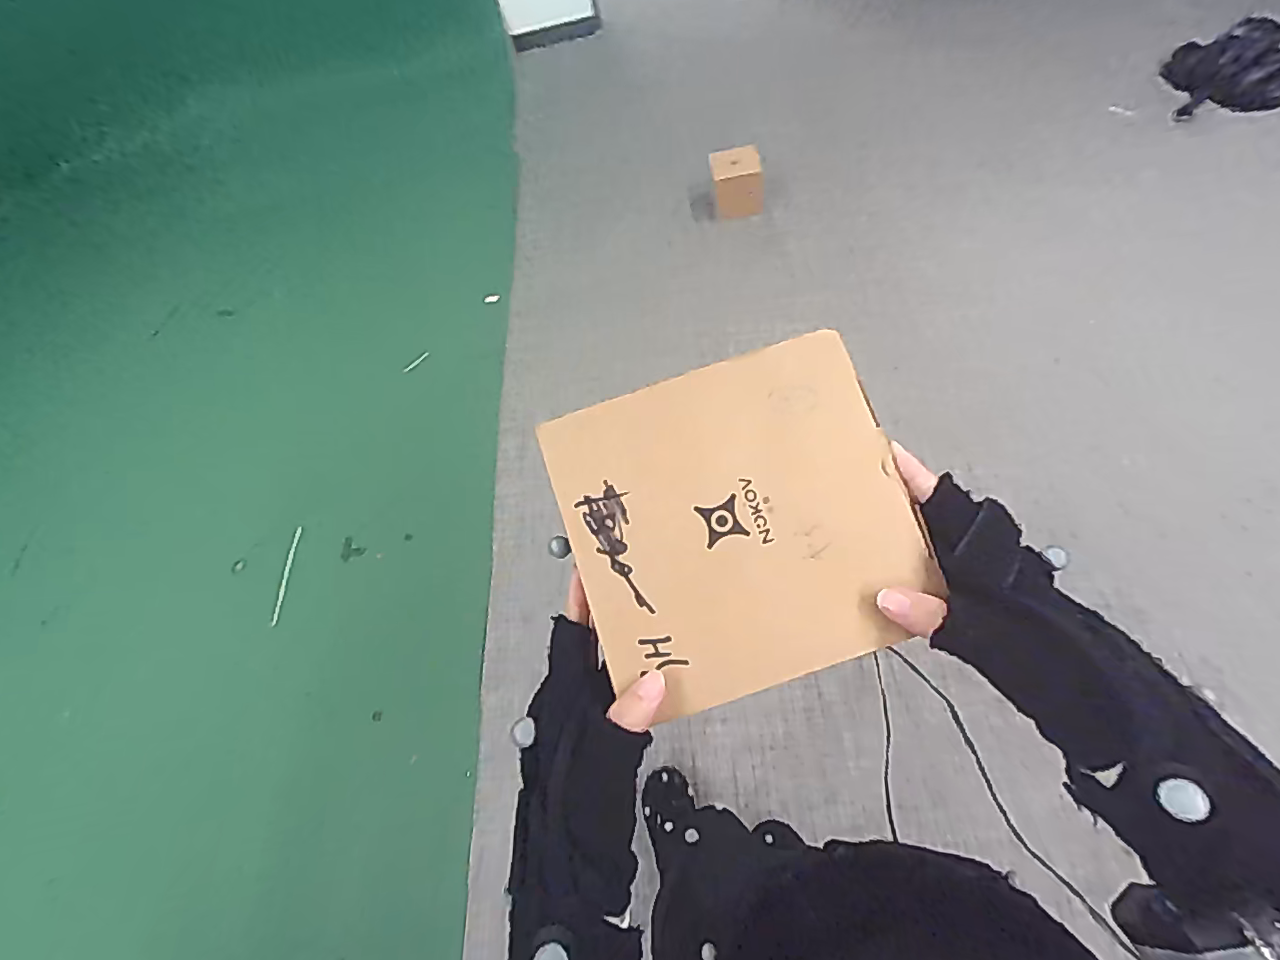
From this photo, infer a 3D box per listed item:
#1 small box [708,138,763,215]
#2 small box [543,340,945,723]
[{"bbox_3d":[0.354,-1.114,1.995,0.179,0.176,0.168,-9,61,8],"label":"small box"},{"bbox_3d":[0.053,0.036,0.363,0.179,0.176,0.168,-17,79,-1],"label":"small box"}]
